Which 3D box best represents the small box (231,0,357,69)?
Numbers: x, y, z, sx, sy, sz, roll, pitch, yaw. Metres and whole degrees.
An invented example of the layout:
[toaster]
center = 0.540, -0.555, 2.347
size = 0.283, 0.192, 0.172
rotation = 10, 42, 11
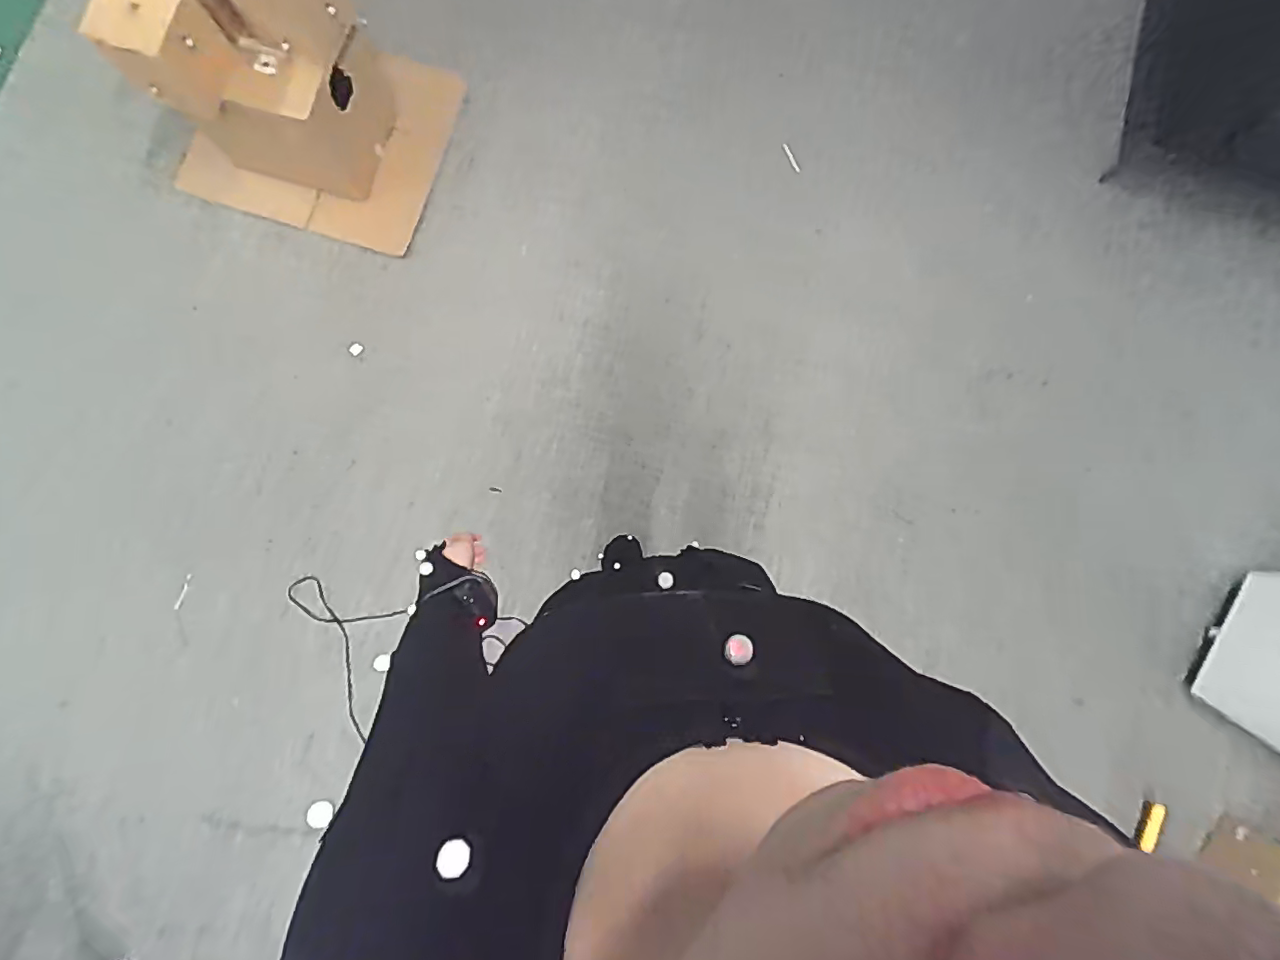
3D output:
[small box]
center = -0.781, -1.083, 1.221
size = 0.179, 0.176, 0.168
rotation = 19, 83, 2
